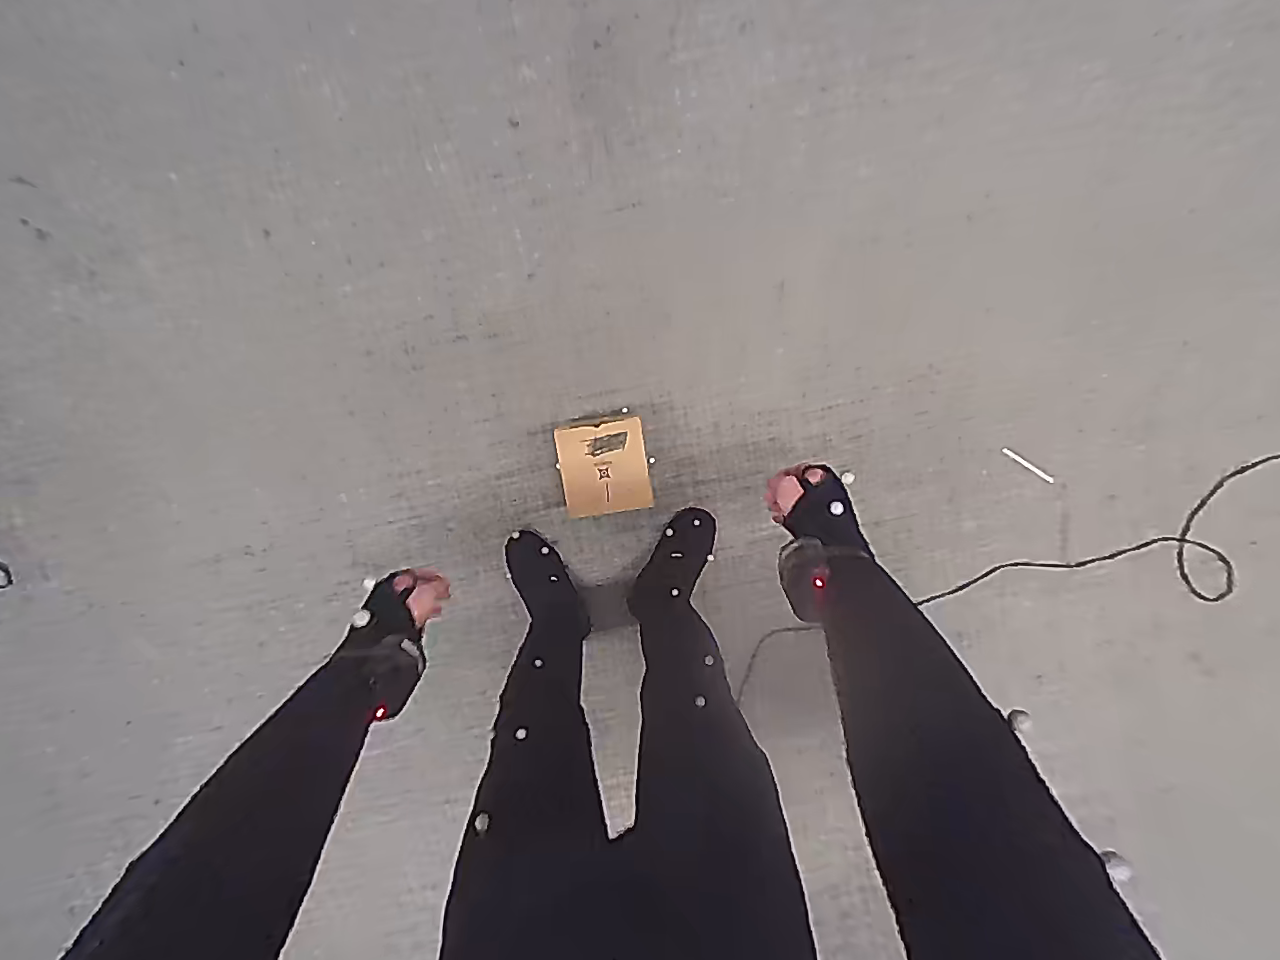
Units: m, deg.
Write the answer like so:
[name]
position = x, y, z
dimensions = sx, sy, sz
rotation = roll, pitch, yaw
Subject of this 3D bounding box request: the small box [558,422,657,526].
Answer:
[small box]
position = -0.061, -0.021, 1.108
dimensions = 0.168, 0.176, 0.179
rotation = -10, 101, 4
